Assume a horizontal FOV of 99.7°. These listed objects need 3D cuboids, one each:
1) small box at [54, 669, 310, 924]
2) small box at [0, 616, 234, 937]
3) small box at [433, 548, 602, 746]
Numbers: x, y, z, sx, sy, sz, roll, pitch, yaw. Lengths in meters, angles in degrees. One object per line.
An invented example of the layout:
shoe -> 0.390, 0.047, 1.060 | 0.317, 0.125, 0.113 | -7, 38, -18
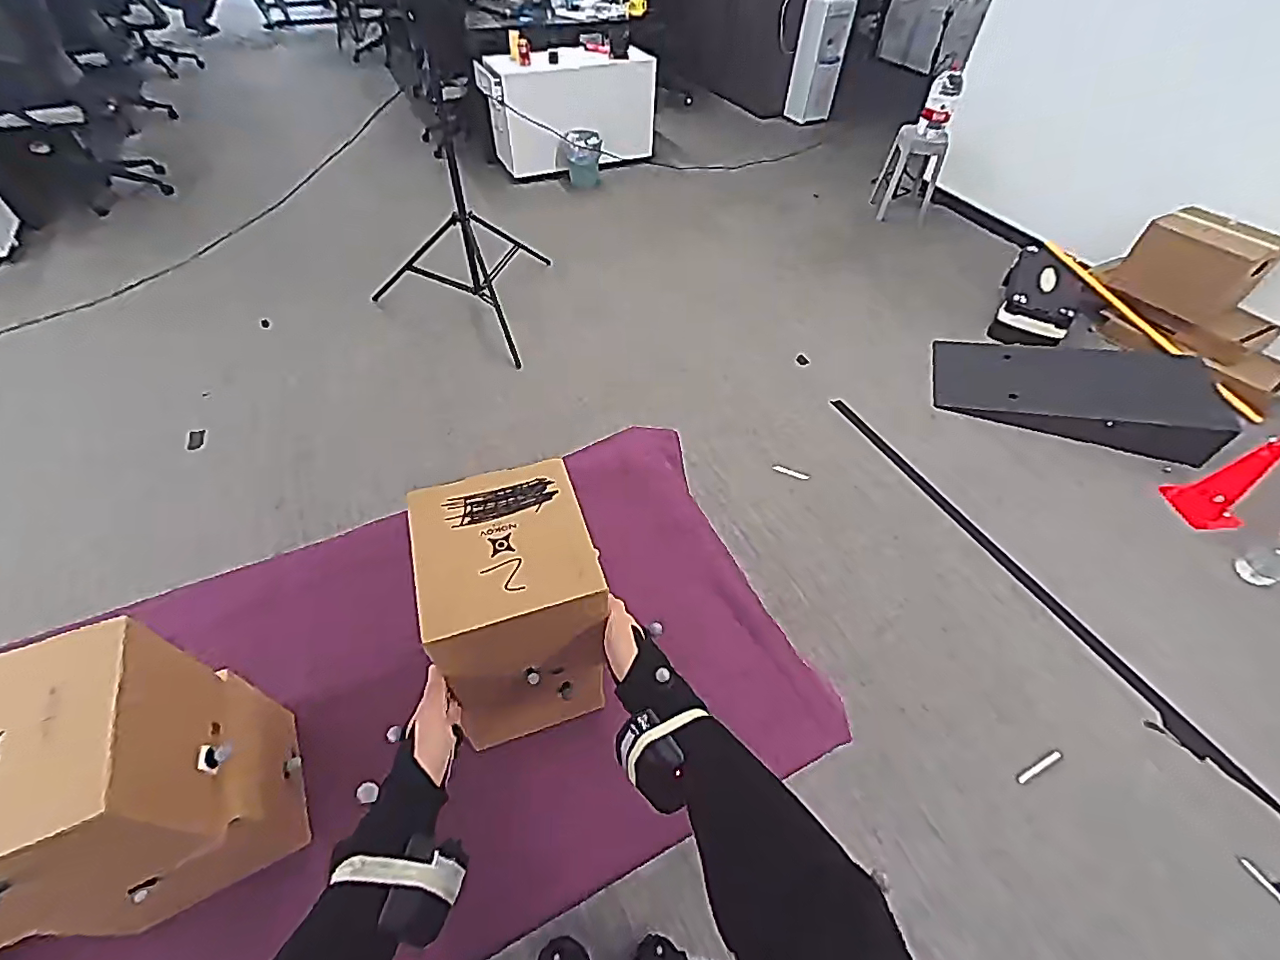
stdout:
small box -> -0.496, 0.346, 0.589 | 0.179, 0.176, 0.168 | -21, 54, -20
small box -> -0.486, 0.251, 0.458 | 0.179, 0.176, 0.168 | -19, 55, -19
small box -> -0.155, 0.220, 0.709 | 0.179, 0.176, 0.168 | -14, 51, -13
